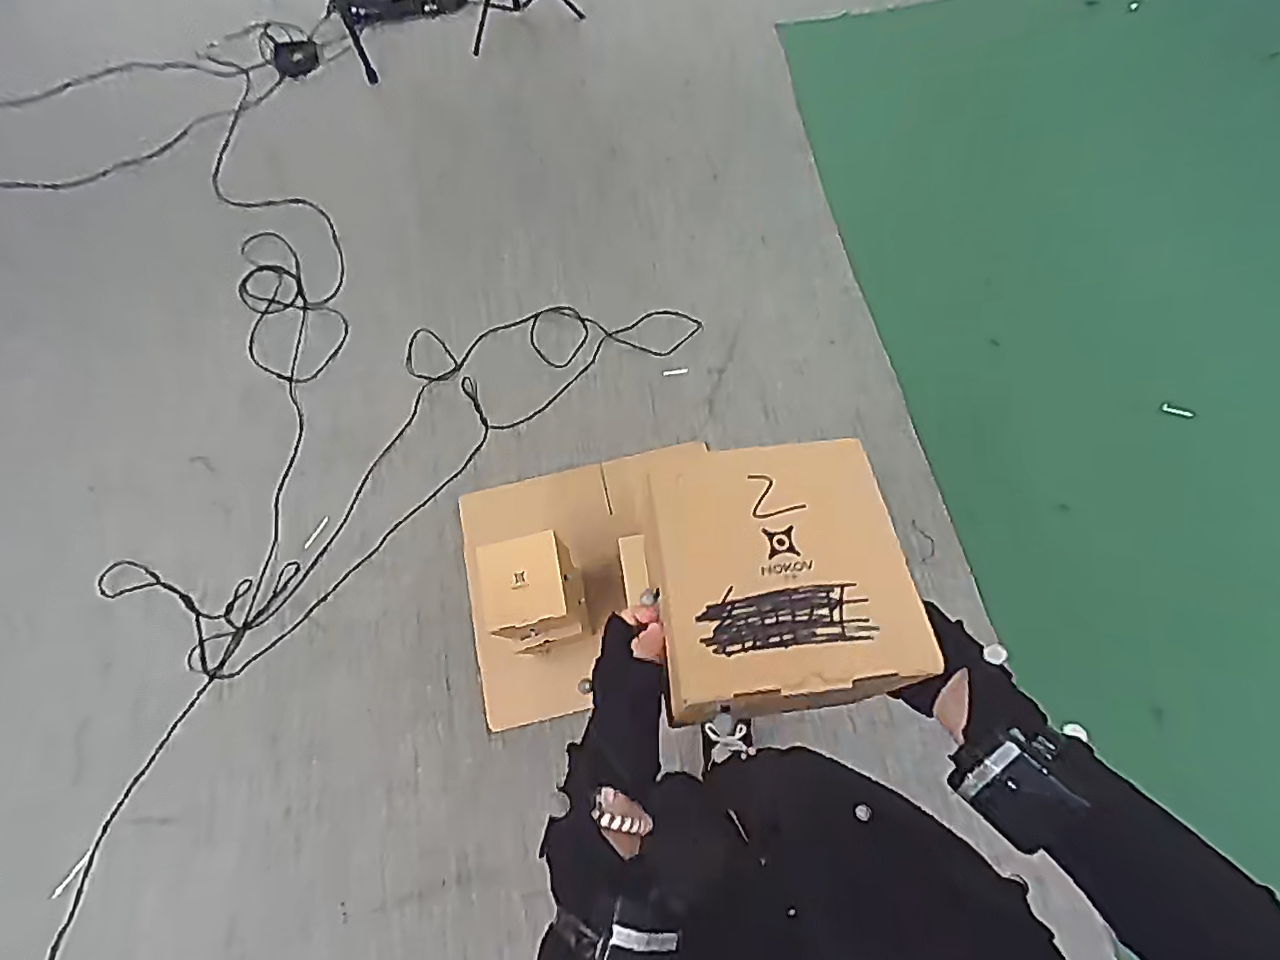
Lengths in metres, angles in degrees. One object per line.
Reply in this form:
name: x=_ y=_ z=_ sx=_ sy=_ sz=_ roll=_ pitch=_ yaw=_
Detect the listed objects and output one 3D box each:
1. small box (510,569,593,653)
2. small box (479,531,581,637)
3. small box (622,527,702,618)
small box: x=-0.217 y=0.304 z=1.288 sx=0.168 sy=0.176 sz=0.179 roll=-15 pitch=71 yaw=-2
small box: x=-0.228 y=0.225 z=1.143 sx=0.168 sy=0.176 sz=0.179 roll=-13 pitch=71 yaw=-1
small box: x=0.052 y=0.227 z=1.301 sx=0.168 sy=0.176 sz=0.179 roll=-9 pitch=72 yaw=1
